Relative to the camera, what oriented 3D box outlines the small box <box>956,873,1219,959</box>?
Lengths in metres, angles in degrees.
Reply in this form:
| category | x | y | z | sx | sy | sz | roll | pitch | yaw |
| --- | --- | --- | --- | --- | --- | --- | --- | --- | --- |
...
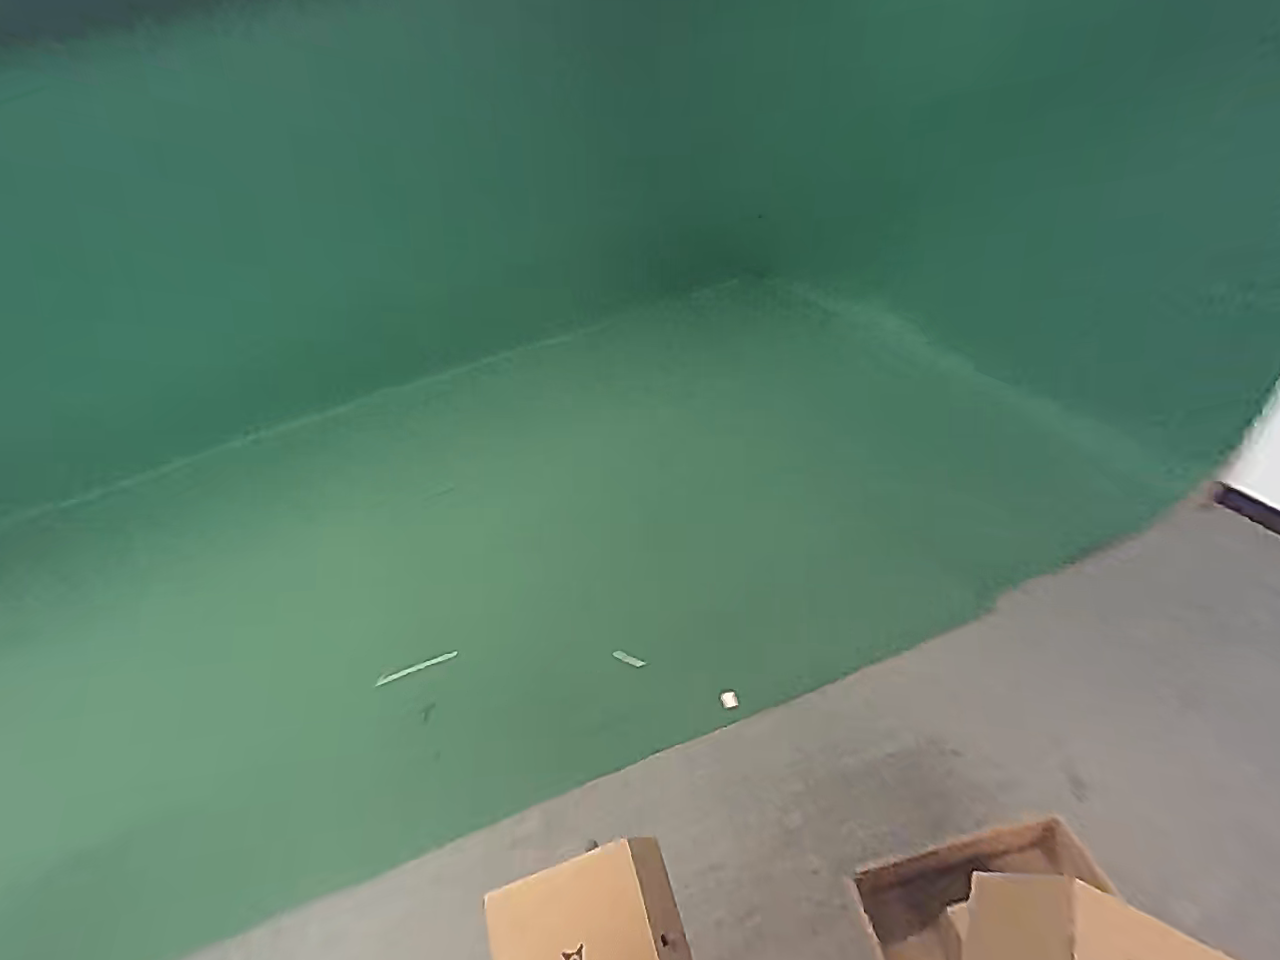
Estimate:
| category | x | y | z | sx | sy | sz | roll | pitch | yaw |
| --- | --- | --- | --- | --- | --- | --- | --- | --- | --- |
| small box | 0.420 | 0.506 | 0.504 | 0.168 | 0.176 | 0.179 | 25 | 57 | 11 |

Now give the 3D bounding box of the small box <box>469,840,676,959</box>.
| category | x | y | z | sx | sy | sz | roll | pitch | yaw |
| --- | --- | --- | --- | --- | --- | --- | --- | --- | --- |
| small box | -0.059 | 0.511 | 0.575 | 0.168 | 0.176 | 0.179 | -22 | 57 | -2 |

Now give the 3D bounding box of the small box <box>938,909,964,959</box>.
| category | x | y | z | sx | sy | sz | roll | pitch | yaw |
| --- | --- | --- | --- | --- | --- | --- | --- | --- | --- |
| small box | 0.594 | 0.782 | 0.839 | 0.168 | 0.176 | 0.179 | -14 | 38 | 0 |
